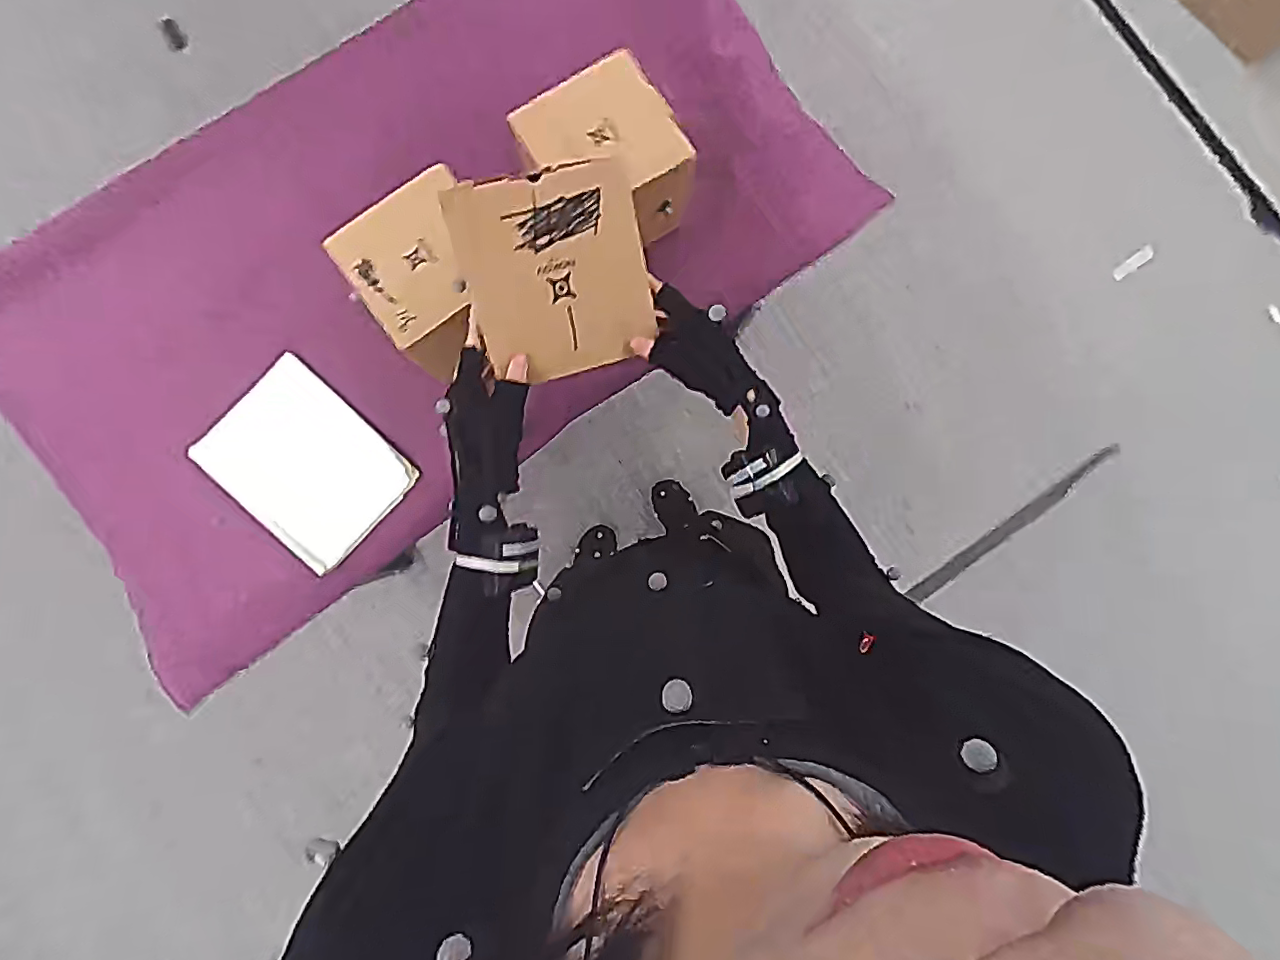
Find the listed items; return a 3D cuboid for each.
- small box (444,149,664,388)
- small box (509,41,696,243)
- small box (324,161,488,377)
[{"bbox_3d":[-0.091,-0.210,0.551,0.168,0.176,0.179,-17,115,-11],"label":"small box"},{"bbox_3d":[-0.046,-0.421,0.734,0.179,0.176,0.168,-33,87,-2],"label":"small box"},{"bbox_3d":[-0.261,-0.265,0.718,0.179,0.176,0.168,-36,88,-4],"label":"small box"}]
